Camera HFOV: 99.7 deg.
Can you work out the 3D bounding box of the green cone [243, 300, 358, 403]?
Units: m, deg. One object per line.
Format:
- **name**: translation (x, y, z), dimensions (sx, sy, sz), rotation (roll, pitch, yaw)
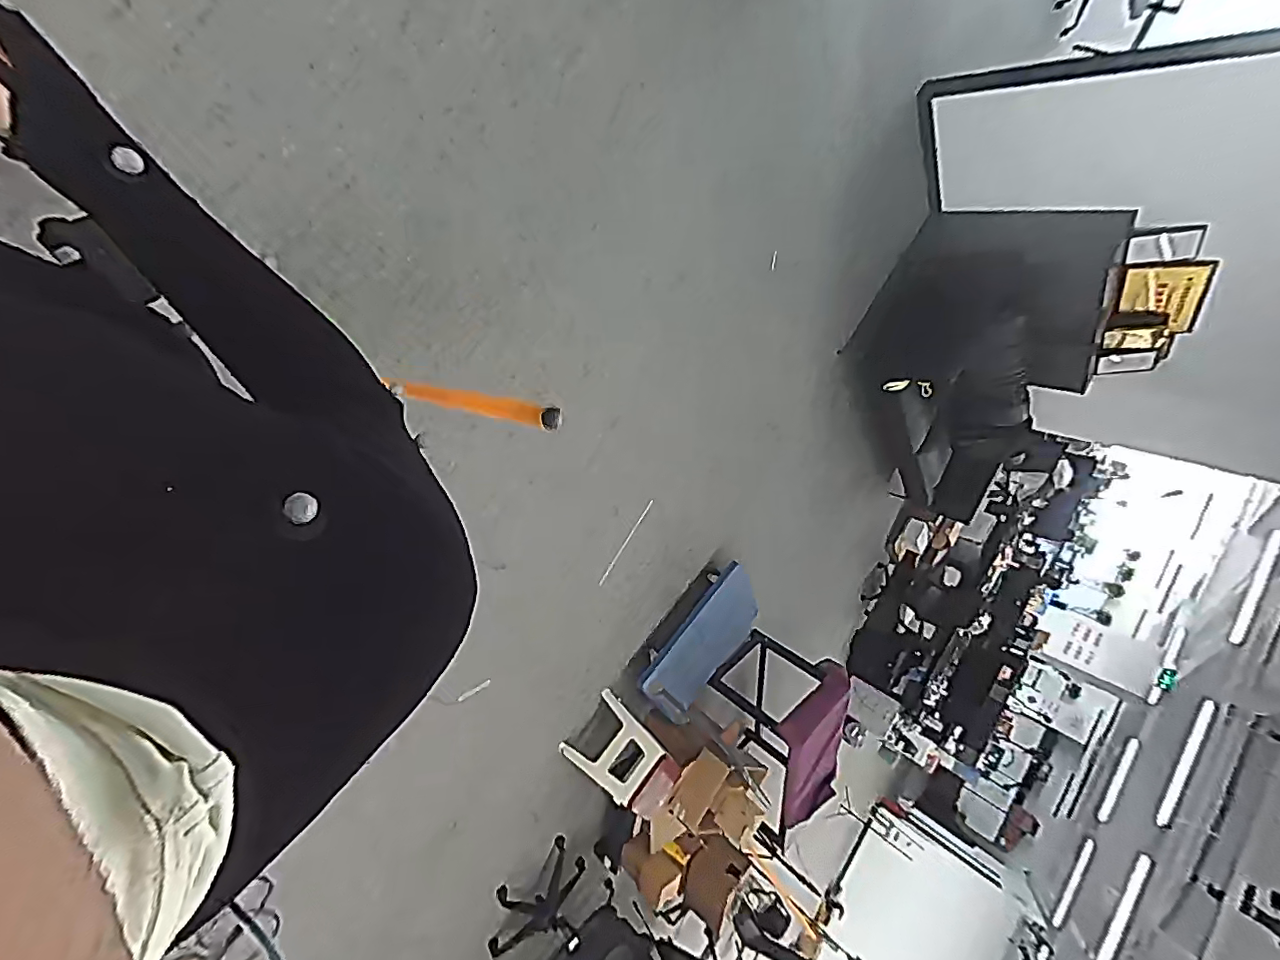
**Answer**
- **green cone**: translation (-0.738, -0.265, 1.258), dimensions (0.202, 0.368, 0.200), rotation (-56, 138, -9)
